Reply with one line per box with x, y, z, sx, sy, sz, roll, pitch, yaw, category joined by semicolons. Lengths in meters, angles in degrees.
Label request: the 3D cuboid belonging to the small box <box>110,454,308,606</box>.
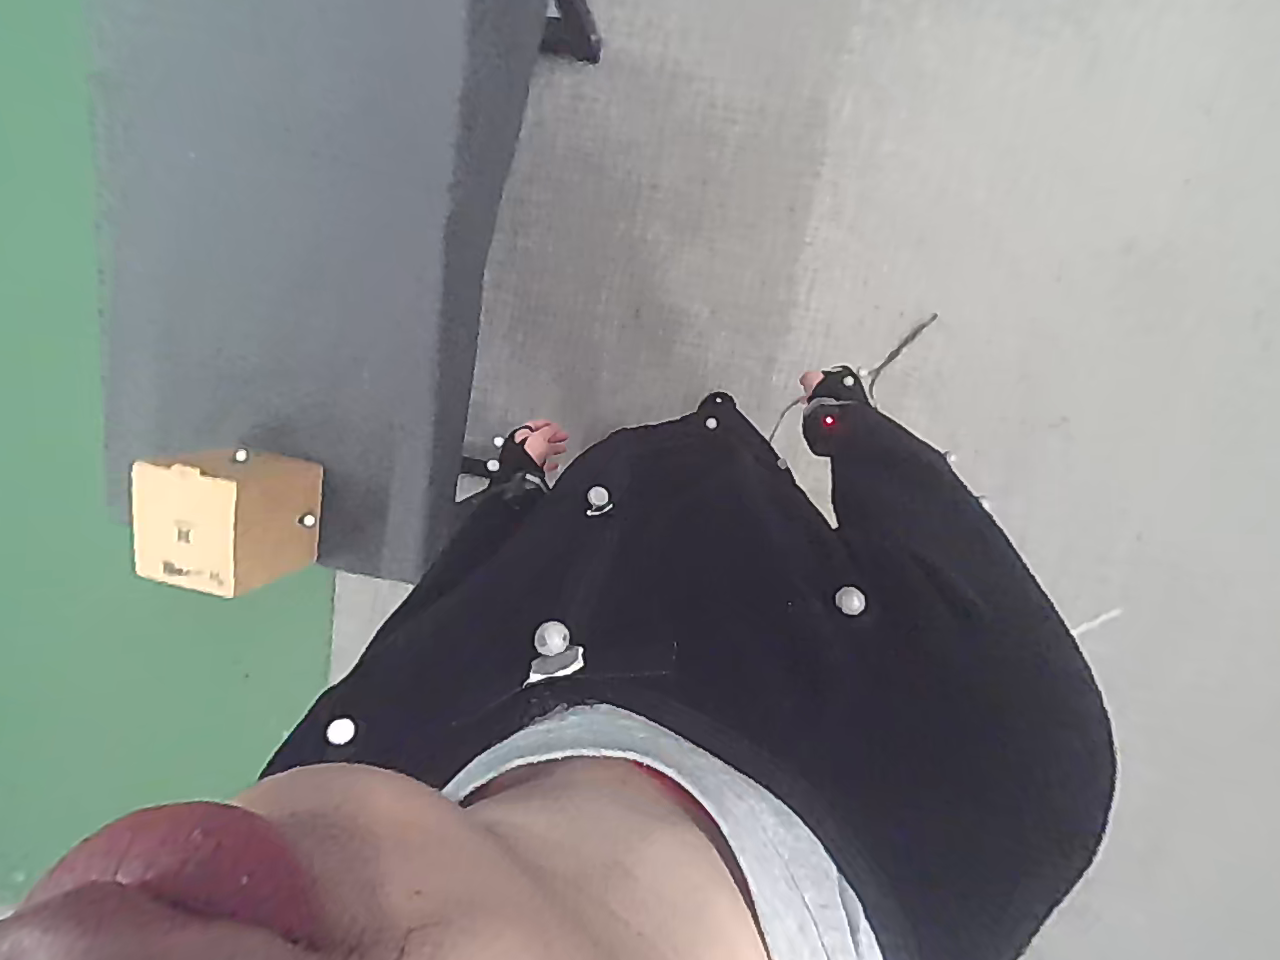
-0.635;0.063;0.815;0.168;0.176;0.179;11;100;5;small box
